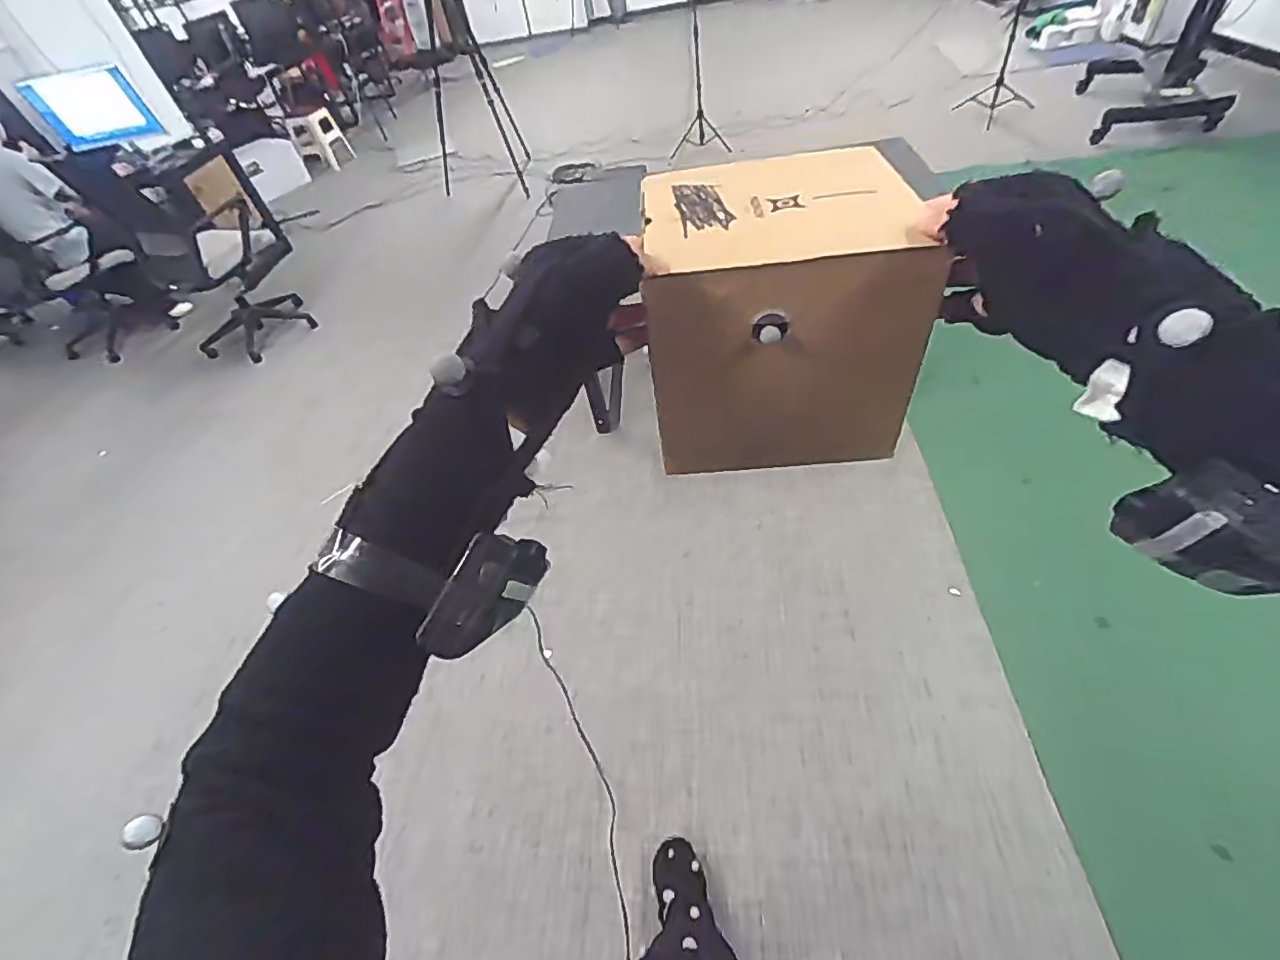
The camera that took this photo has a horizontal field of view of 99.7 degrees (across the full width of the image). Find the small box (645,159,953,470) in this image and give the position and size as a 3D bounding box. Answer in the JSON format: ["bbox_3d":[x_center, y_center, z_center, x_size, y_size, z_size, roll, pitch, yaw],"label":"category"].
[{"bbox_3d":[0.101,-0.121,0.419,0.179,0.176,0.168,-4,47,6],"label":"small box"}]
